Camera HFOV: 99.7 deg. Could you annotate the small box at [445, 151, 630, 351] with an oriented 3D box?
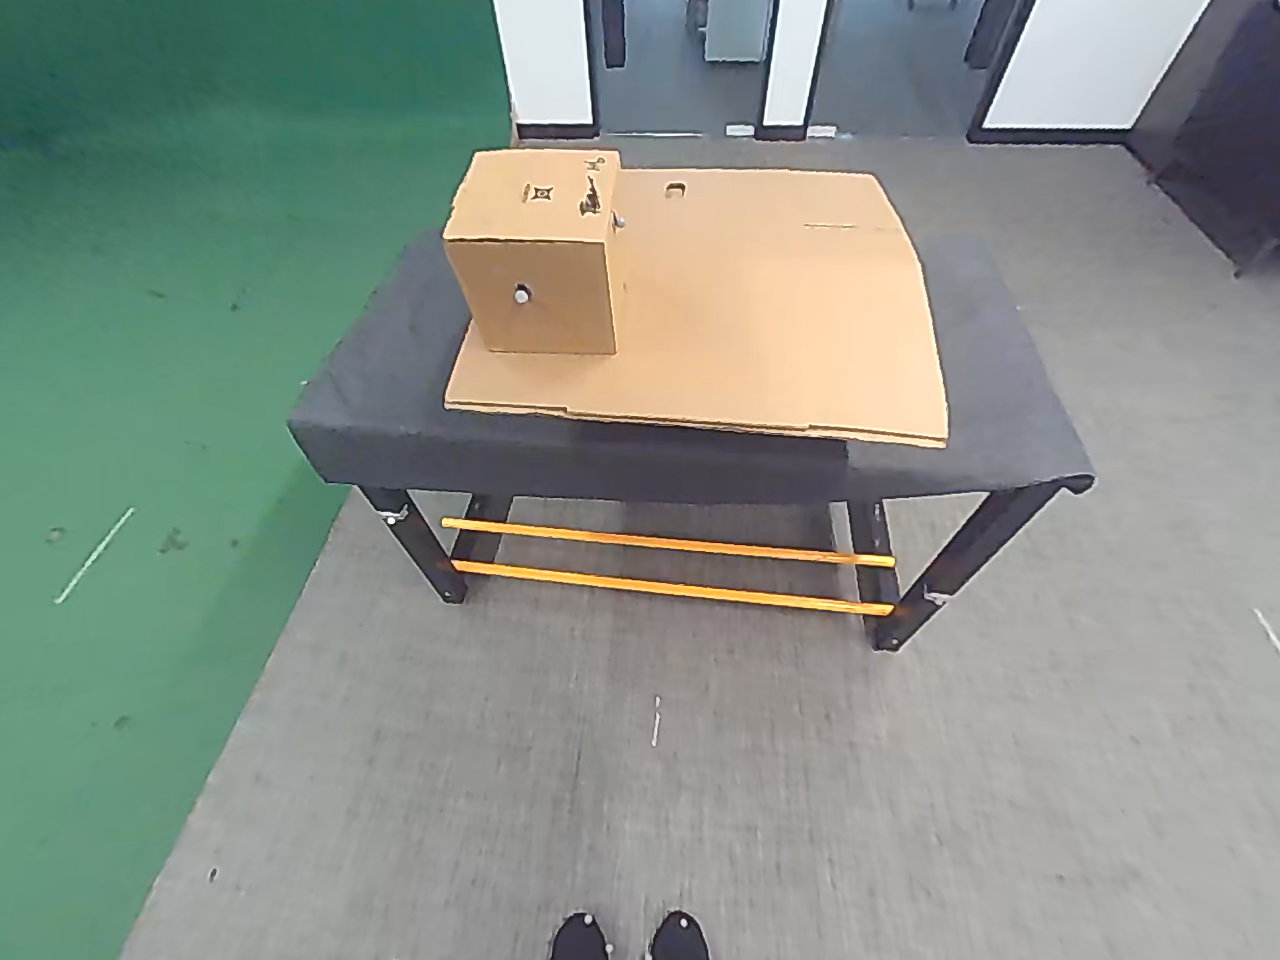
[{"bbox_3d":[-0.111,-0.278,0.674,0.179,0.176,0.168,2,61,5],"label":"small box"}]
